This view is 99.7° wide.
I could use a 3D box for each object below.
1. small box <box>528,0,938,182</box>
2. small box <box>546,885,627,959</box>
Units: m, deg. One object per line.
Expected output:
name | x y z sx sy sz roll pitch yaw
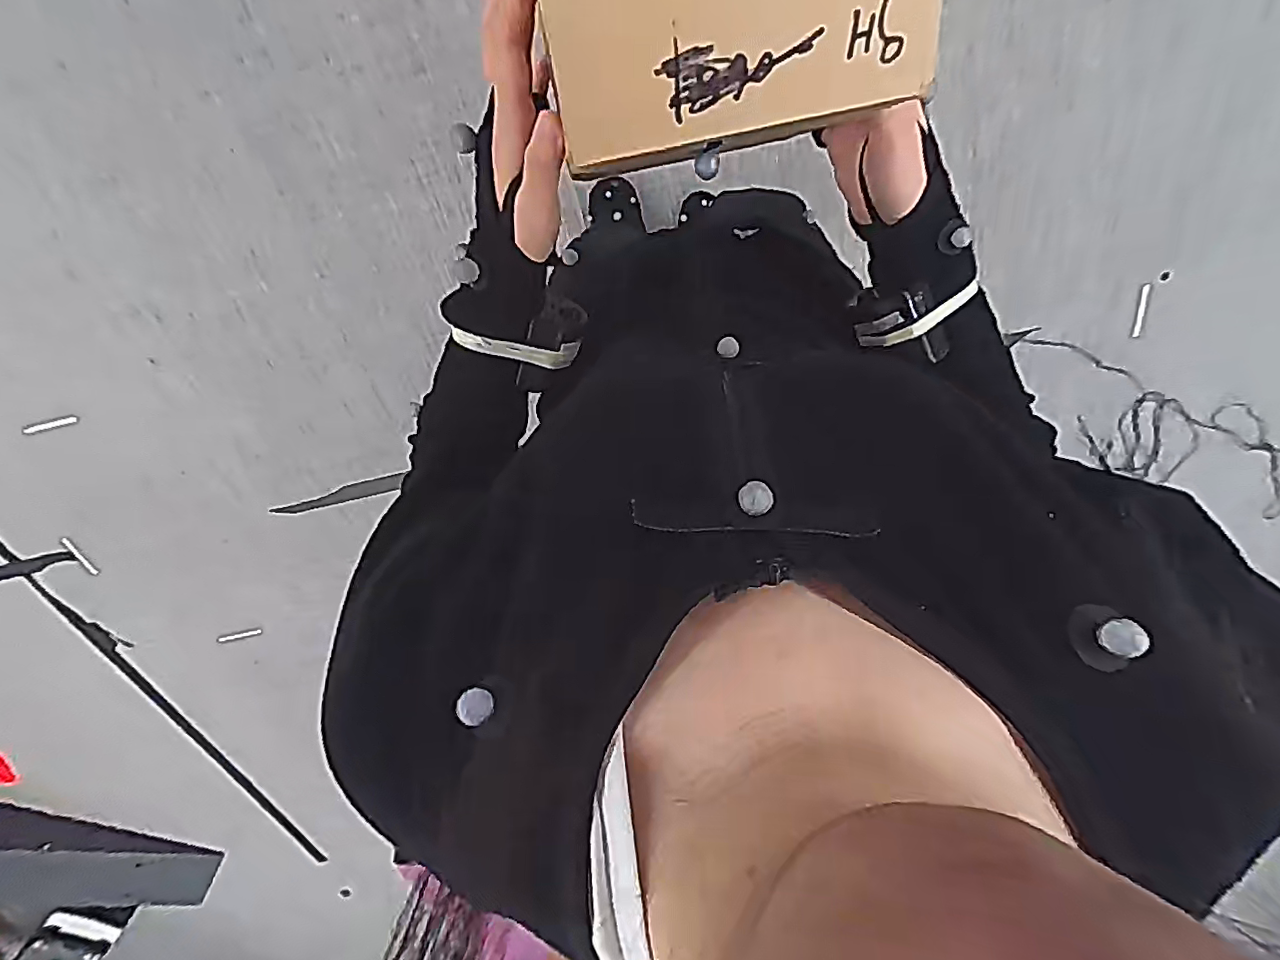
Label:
small box | 0.024 -0.263 0.267 0.168 0.176 0.179 -12 117 1
small box | -0.120 1.100 1.279 0.168 0.176 0.179 -9 119 1
